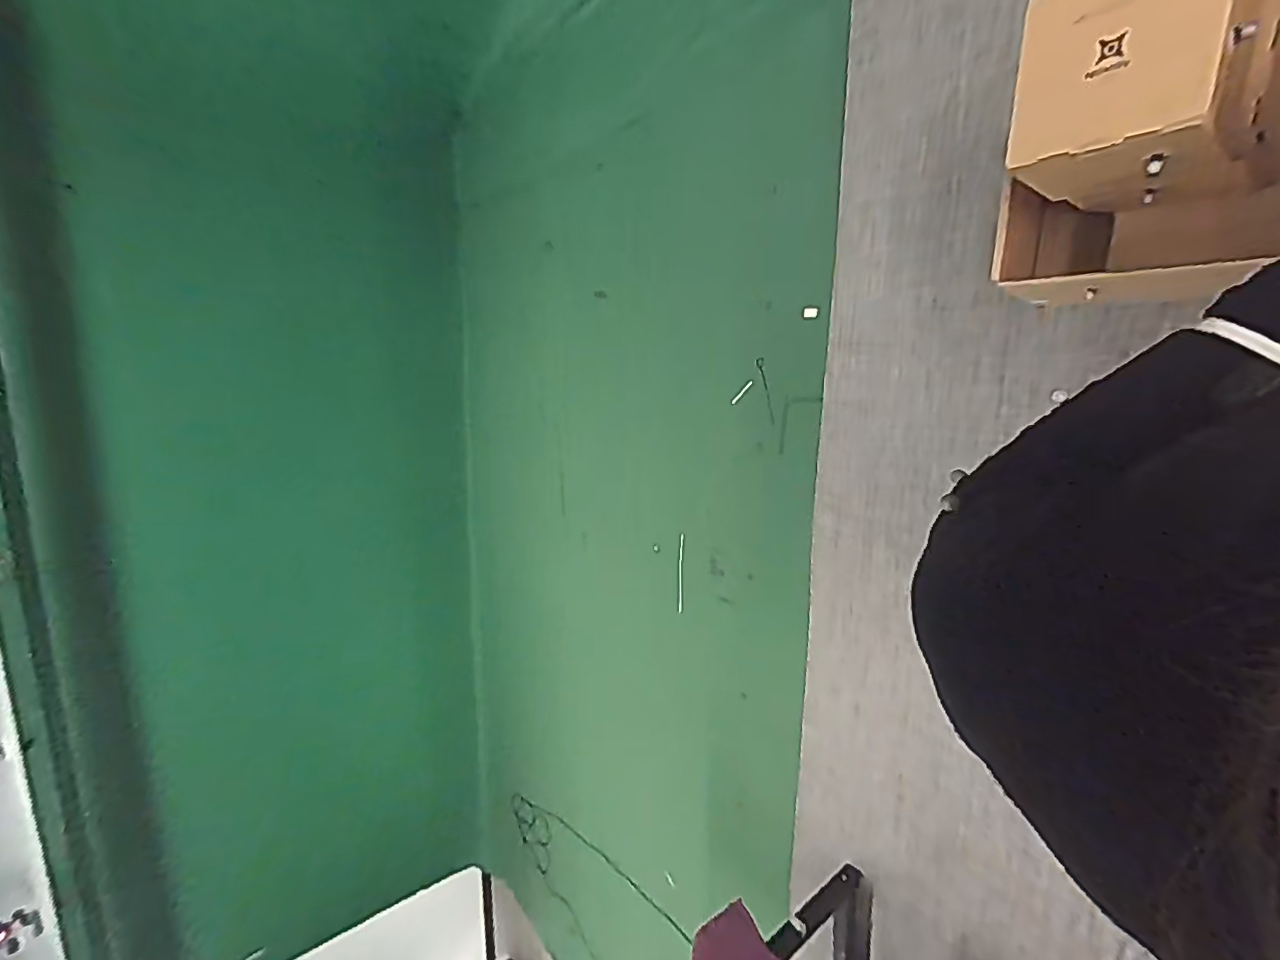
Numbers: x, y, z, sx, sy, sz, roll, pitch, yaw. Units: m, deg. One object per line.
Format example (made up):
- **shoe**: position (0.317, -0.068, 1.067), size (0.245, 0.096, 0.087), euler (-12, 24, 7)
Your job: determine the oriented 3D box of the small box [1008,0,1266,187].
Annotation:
- **small box**: position (0.541, -0.442, 0.594), size (0.168, 0.176, 0.179), euler (17, 108, 51)
